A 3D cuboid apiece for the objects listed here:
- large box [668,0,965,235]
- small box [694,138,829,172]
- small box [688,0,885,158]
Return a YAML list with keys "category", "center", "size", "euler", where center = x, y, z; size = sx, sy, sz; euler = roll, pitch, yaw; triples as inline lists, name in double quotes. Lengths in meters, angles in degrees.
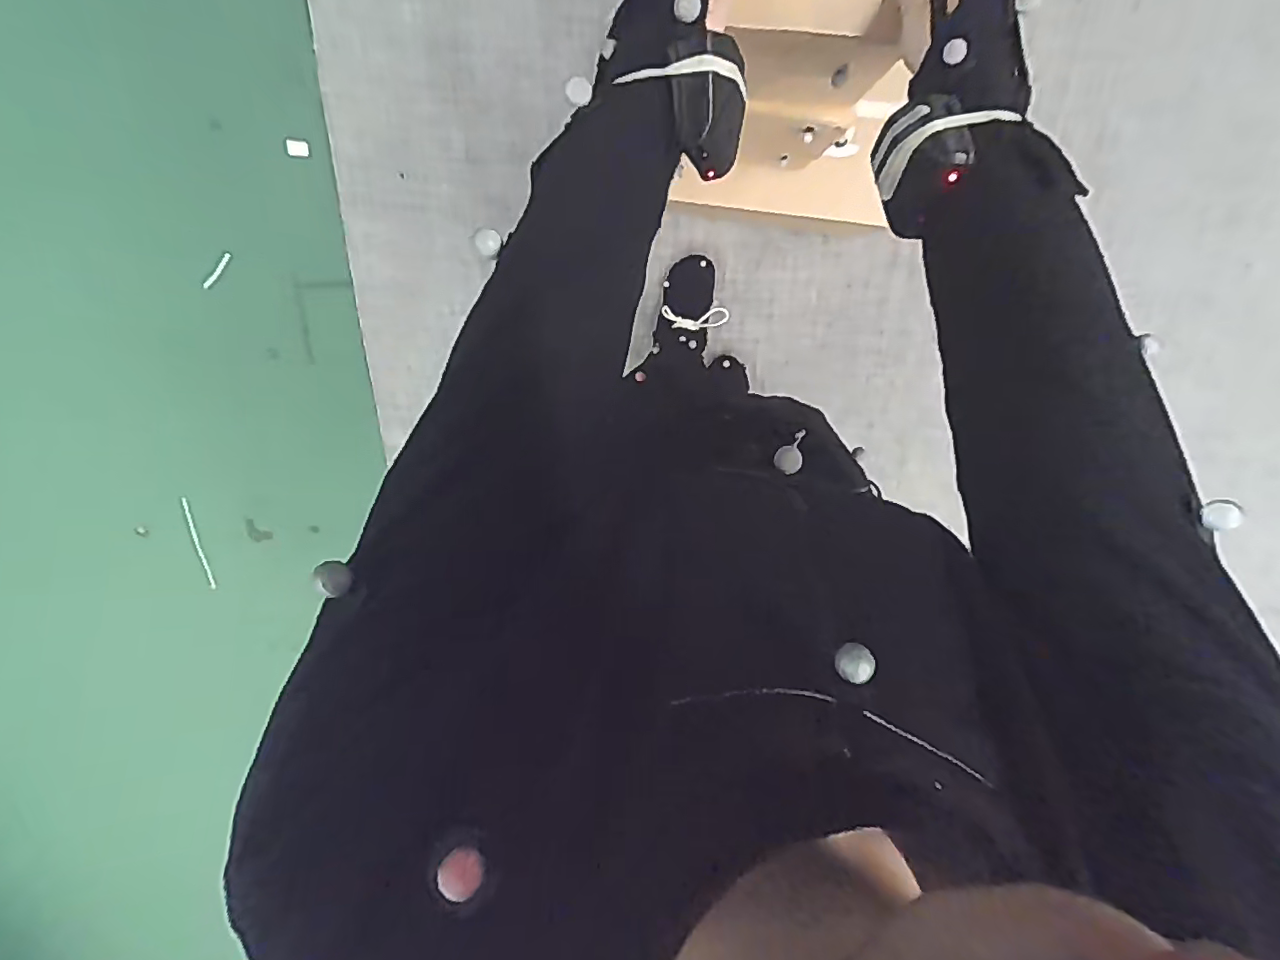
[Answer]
- category: "large box"
  center: [0.263, -0.632, 0.969]
  size: [0.408, 0.320, 0.320]
  euler: [7, 113, 1]
- category: "small box"
  center: [0.173, -0.541, 0.752]
  size: [0.179, 0.176, 0.168]
  euler: [8, 110, 3]
- category: "small box"
  center: [0.152, -0.478, 0.603]
  size: [0.179, 0.176, 0.168]
  euler: [9, 110, 1]
